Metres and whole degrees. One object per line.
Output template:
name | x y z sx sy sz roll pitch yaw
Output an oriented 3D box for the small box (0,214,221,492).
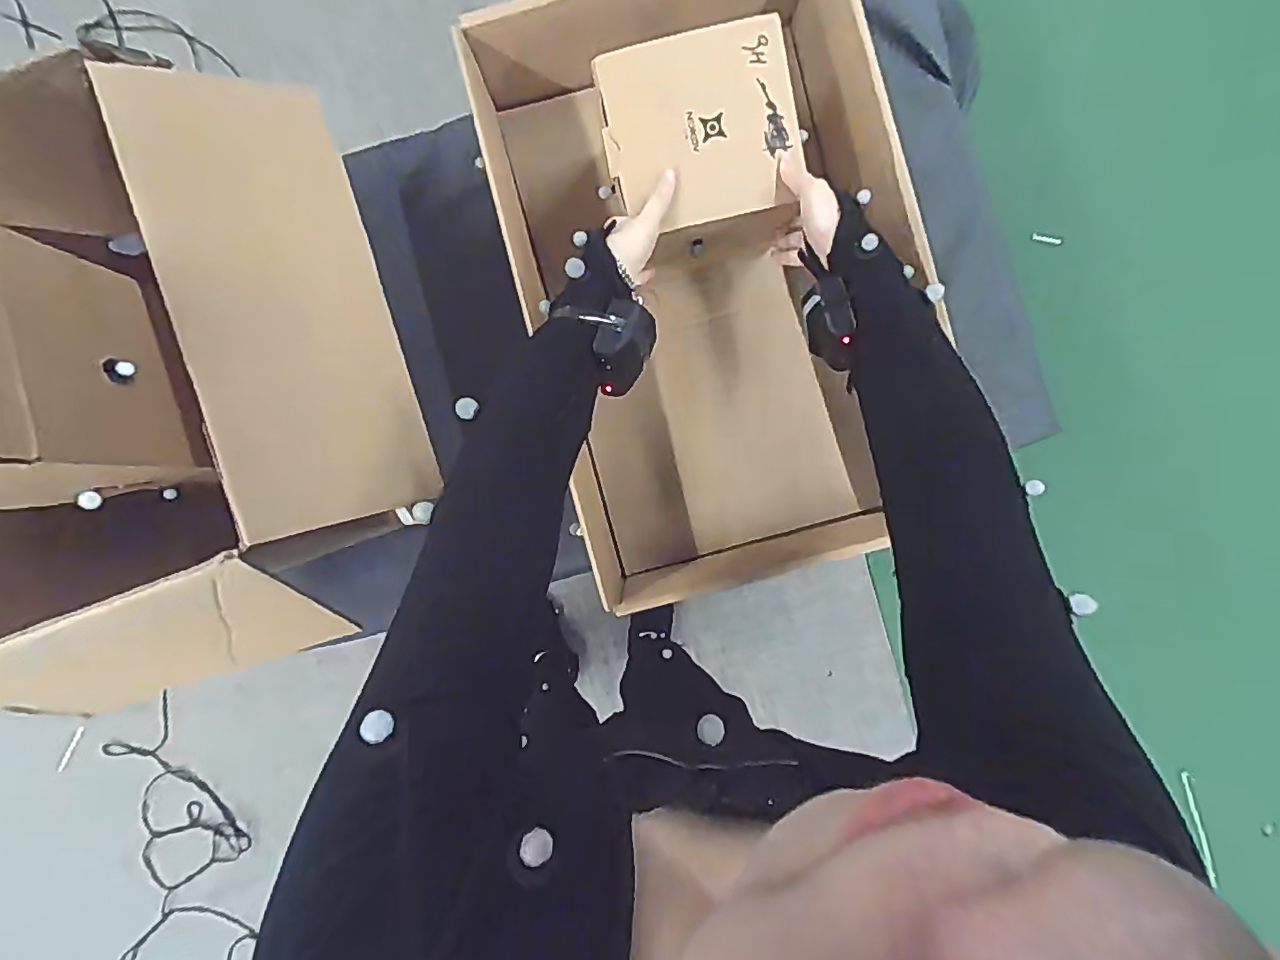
small box | -0.508 -0.087 0.454 0.168 0.176 0.179 -13 92 0
